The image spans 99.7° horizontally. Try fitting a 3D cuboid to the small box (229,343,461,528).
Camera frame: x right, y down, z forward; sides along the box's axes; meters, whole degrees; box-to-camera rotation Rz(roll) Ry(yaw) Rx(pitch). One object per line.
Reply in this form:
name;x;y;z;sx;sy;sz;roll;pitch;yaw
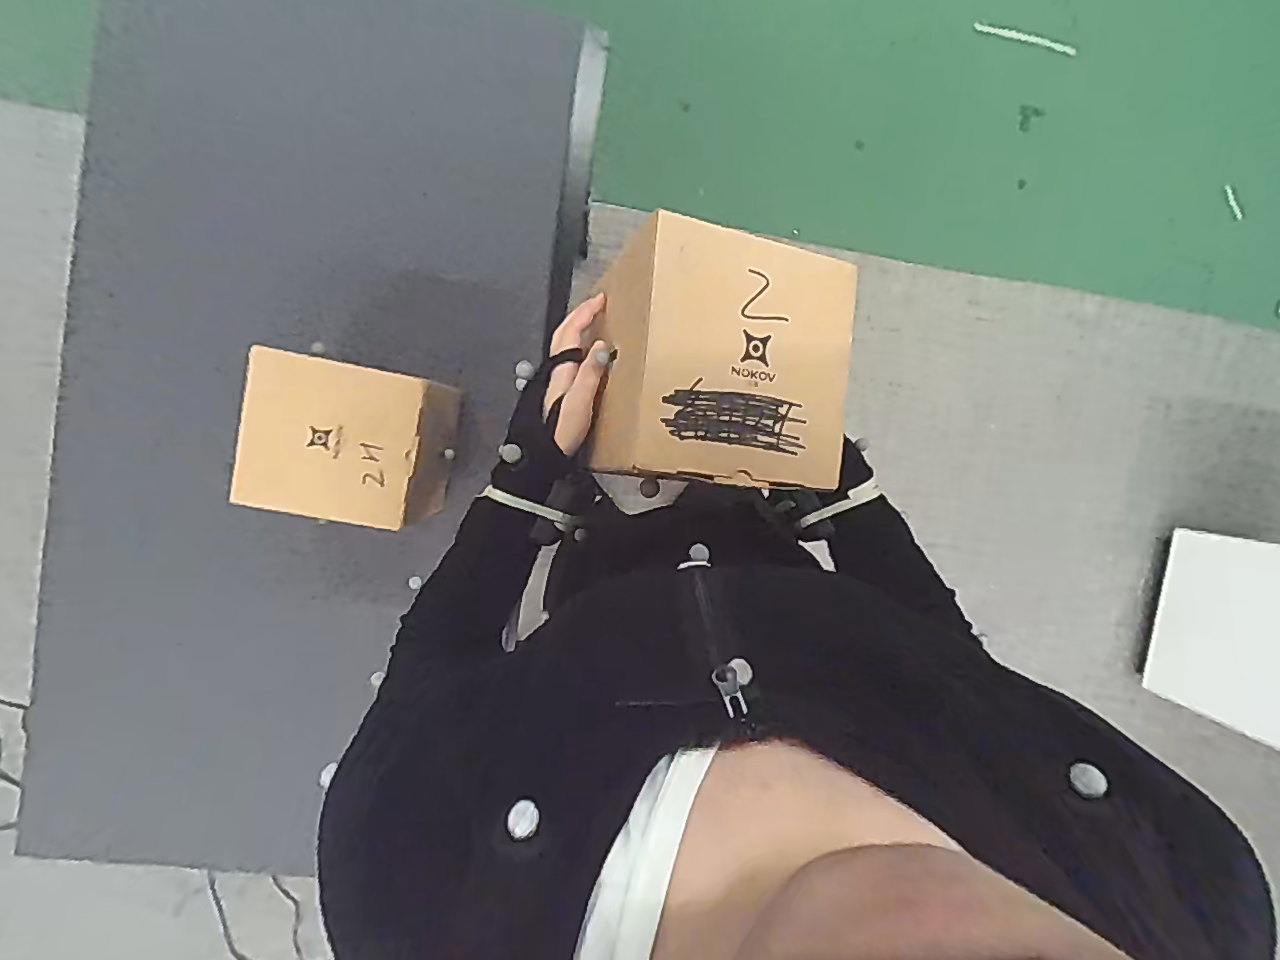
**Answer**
small box;-0.328;-0.050;0.635;0.179;0.176;0.168;10;94;-7
